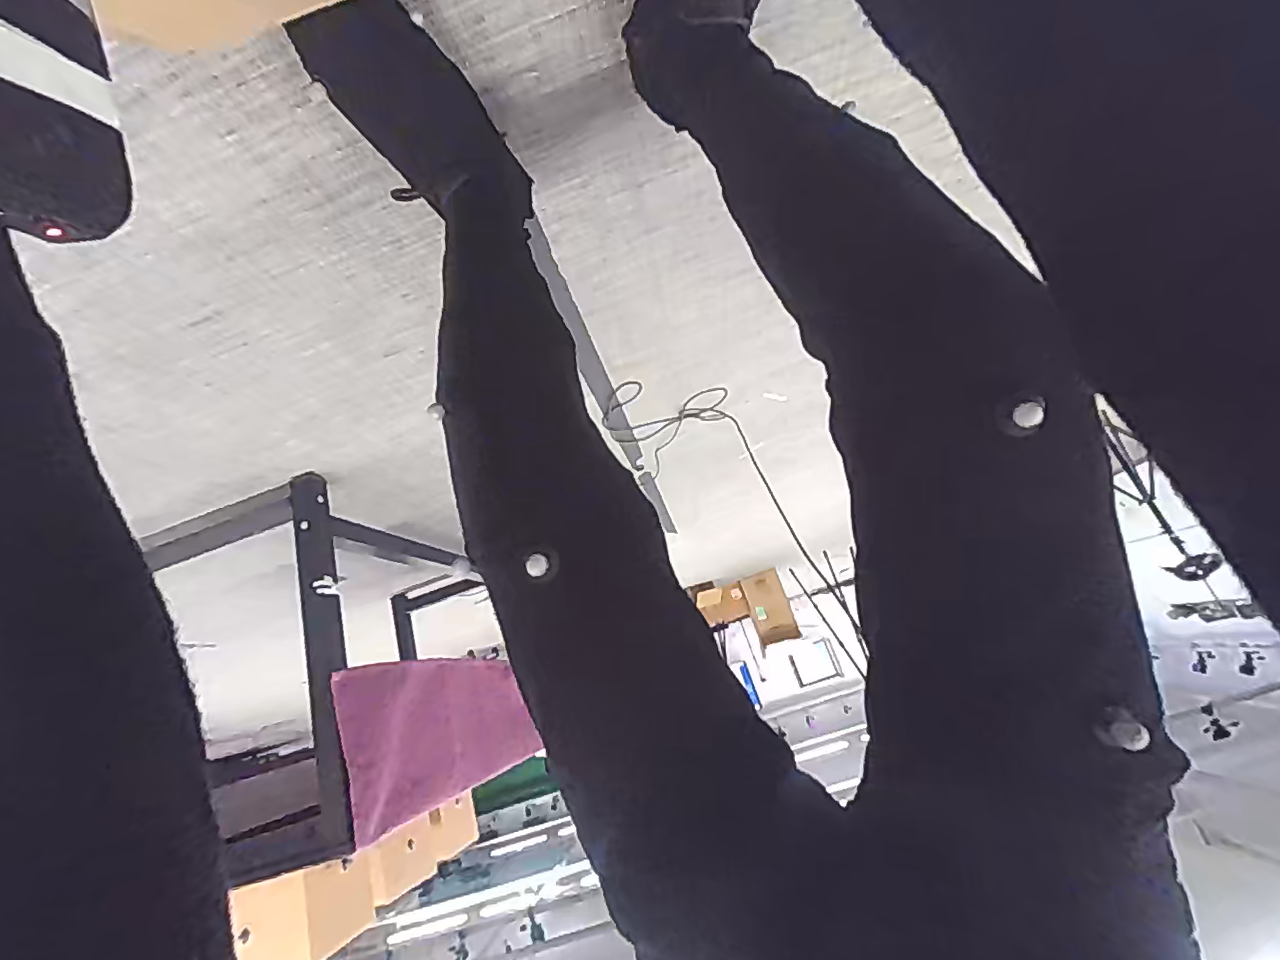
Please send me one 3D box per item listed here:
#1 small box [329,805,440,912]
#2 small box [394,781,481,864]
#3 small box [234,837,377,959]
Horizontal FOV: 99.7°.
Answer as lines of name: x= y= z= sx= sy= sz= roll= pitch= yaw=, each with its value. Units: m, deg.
small box: x=-0.617 y=0.908 z=1.301 sx=0.179 sy=0.176 sz=0.168 roll=-23 pitch=160 yaw=13
small box: x=-0.585 y=0.984 z=1.541 sx=0.179 sy=0.176 sz=0.168 roll=-22 pitch=161 yaw=7
small box: x=-0.643 y=0.823 z=1.043 sx=0.179 sy=0.176 sz=0.168 roll=-21 pitch=162 yaw=7
